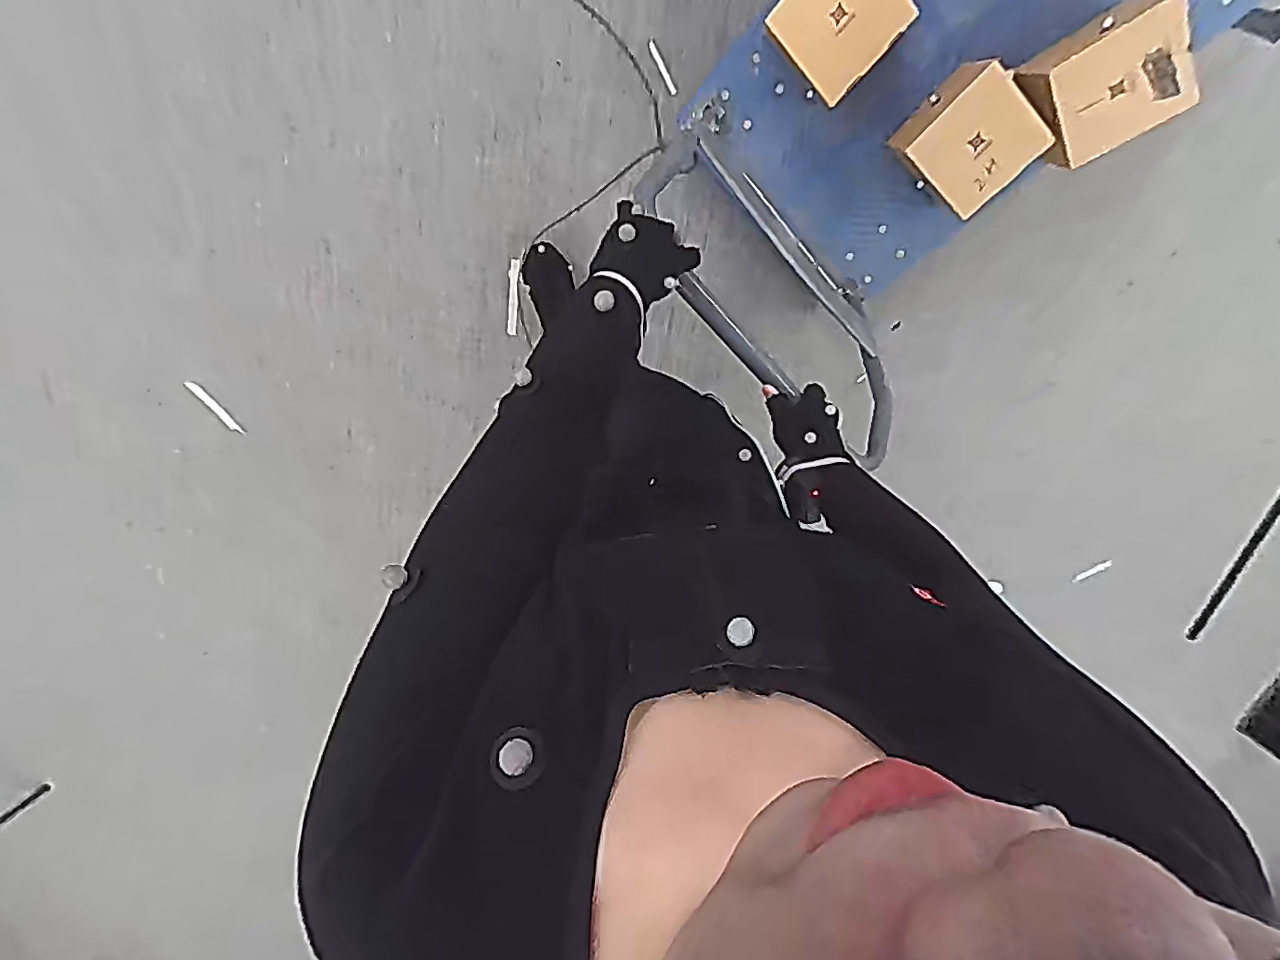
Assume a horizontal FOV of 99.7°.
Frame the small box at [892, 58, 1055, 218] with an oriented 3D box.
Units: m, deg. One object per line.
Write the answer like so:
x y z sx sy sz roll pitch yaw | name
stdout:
0.587 -0.613 0.978 0.179 0.176 0.168 38 125 -16 | small box

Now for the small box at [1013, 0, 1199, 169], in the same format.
0.767 -0.660 0.904 0.179 0.176 0.168 -23 119 26 | small box

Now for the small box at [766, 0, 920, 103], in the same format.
0.328 -0.778 0.912 0.179 0.176 0.168 39 124 -18 | small box
